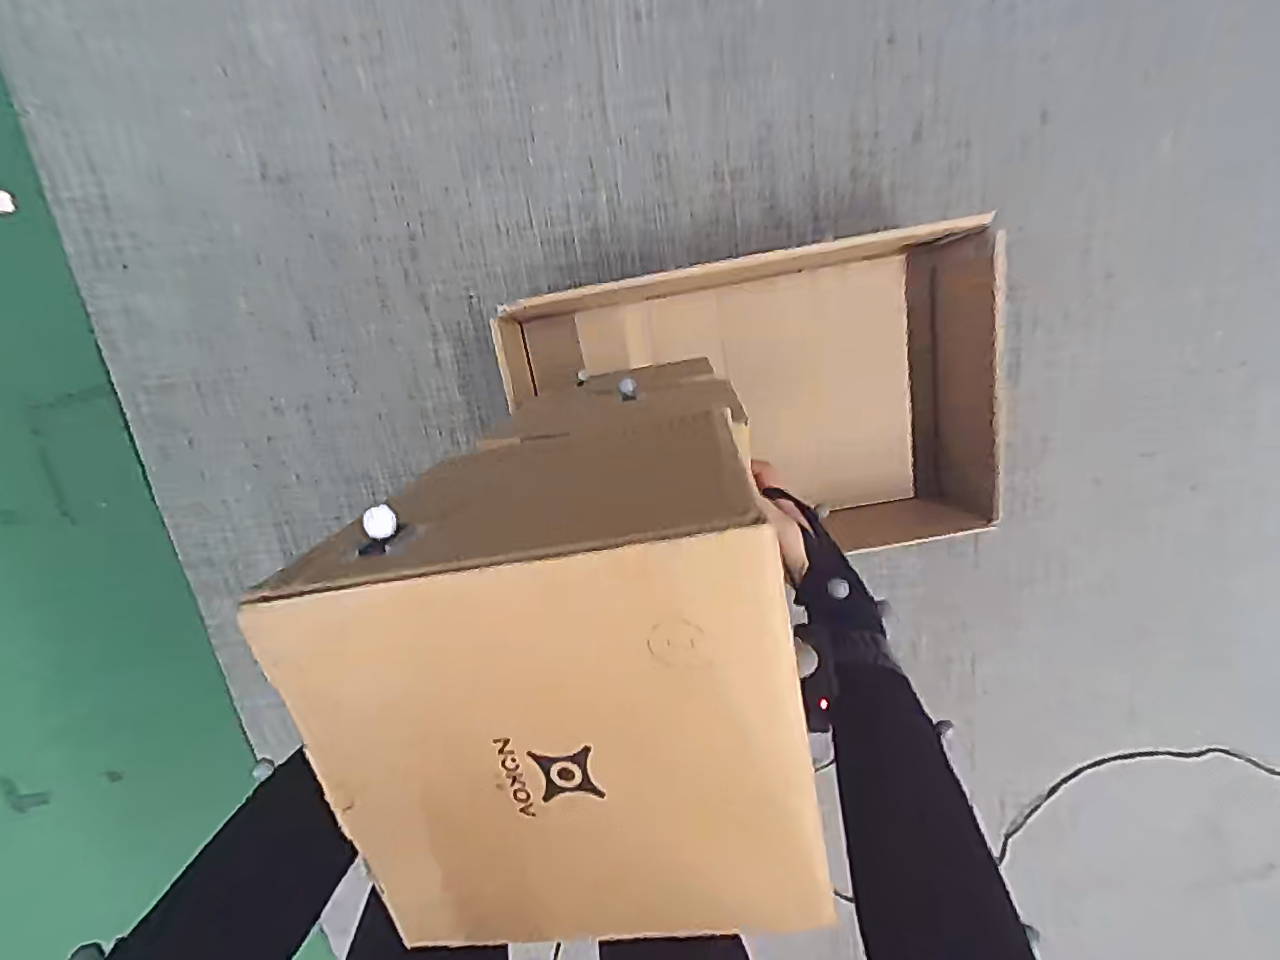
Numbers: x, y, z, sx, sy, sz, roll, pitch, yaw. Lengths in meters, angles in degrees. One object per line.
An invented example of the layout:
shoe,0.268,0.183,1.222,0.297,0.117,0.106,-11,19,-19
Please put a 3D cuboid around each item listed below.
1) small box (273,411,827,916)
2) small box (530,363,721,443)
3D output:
small box,-0.021,0.071,0.273,0.179,0.176,0.168,-10,107,9
small box,0.002,-0.027,0.584,0.179,0.176,0.168,-8,107,7
